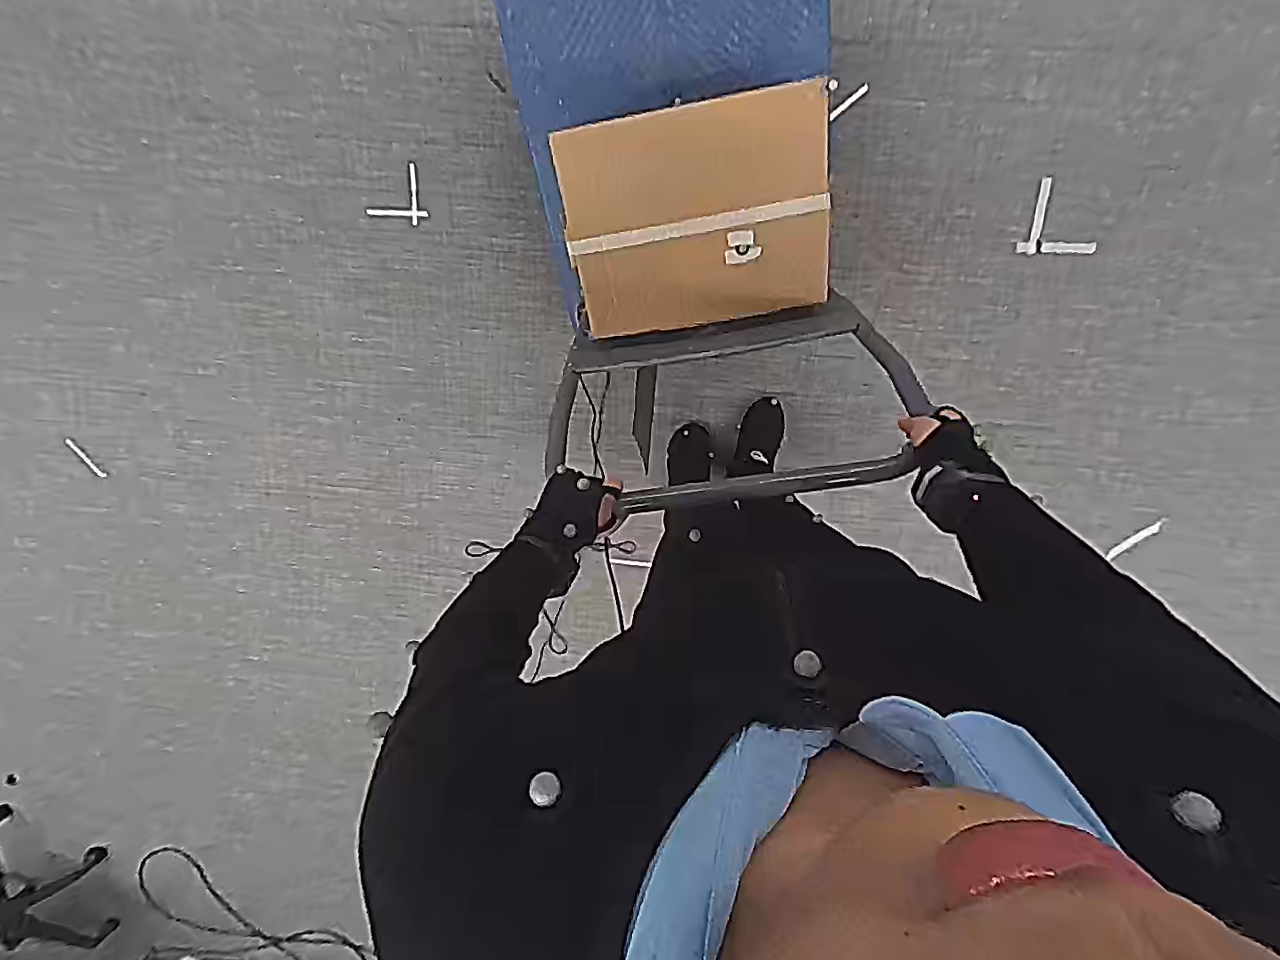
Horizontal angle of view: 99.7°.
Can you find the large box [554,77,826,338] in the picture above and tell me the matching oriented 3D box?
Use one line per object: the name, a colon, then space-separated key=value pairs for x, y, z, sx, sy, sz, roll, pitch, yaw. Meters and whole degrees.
large box: x=0.092 y=-0.485 z=0.982 sx=0.408 sy=0.320 sz=0.320 roll=-8 pitch=122 yaw=6
